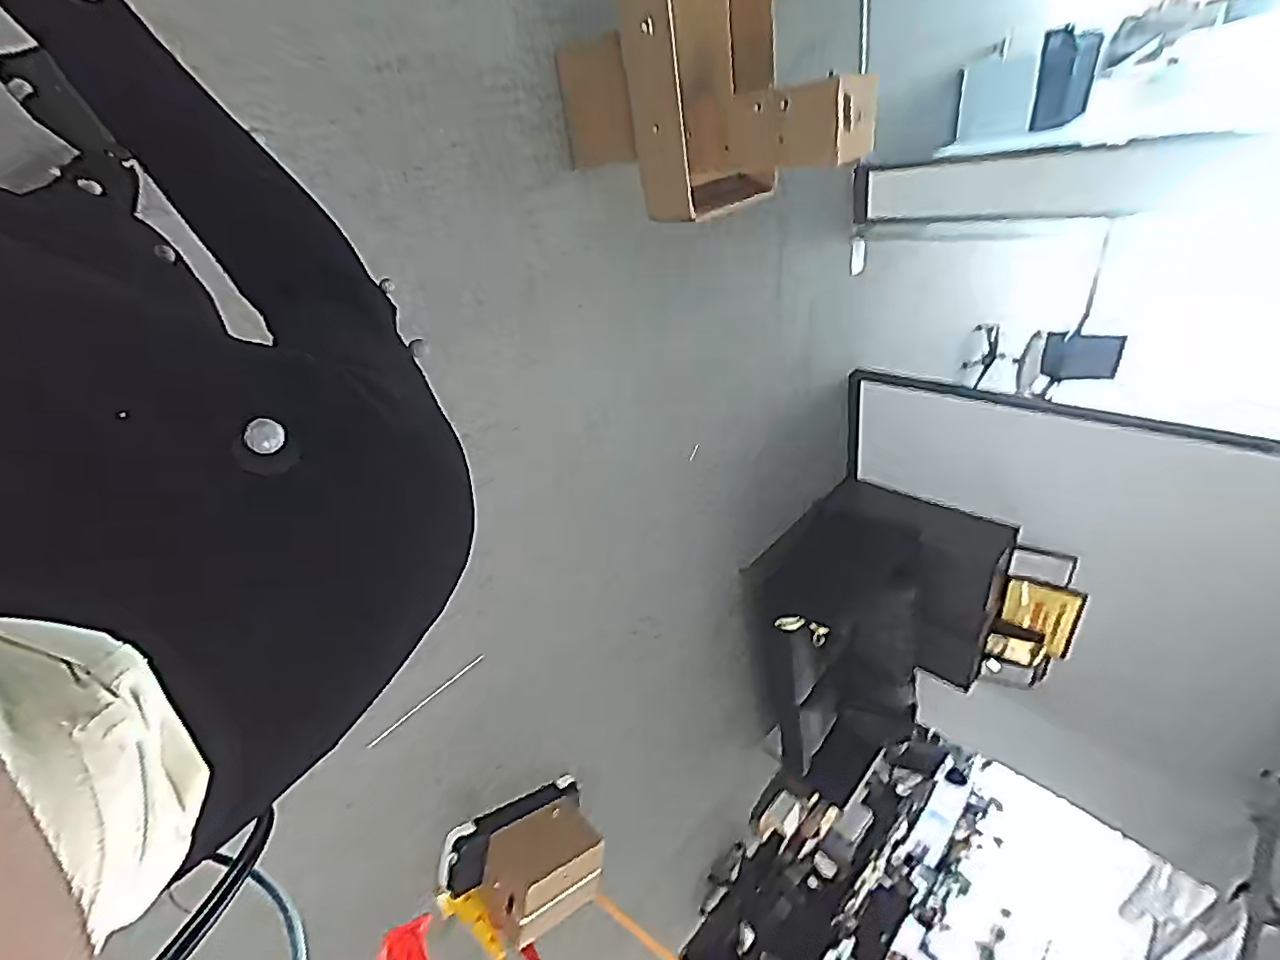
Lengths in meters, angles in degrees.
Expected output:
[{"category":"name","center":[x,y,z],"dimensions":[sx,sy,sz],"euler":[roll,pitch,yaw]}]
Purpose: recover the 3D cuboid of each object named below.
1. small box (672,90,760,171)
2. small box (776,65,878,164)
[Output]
[{"category":"small box","center":[0.212,-0.964,1.493],"dimensions":[0.179,0.176,0.168],"euler":[-33,129,-31]},{"category":"small box","center":[0.434,-0.858,1.276],"dimensions":[0.179,0.176,0.168],"euler":[-35,131,-31]}]
